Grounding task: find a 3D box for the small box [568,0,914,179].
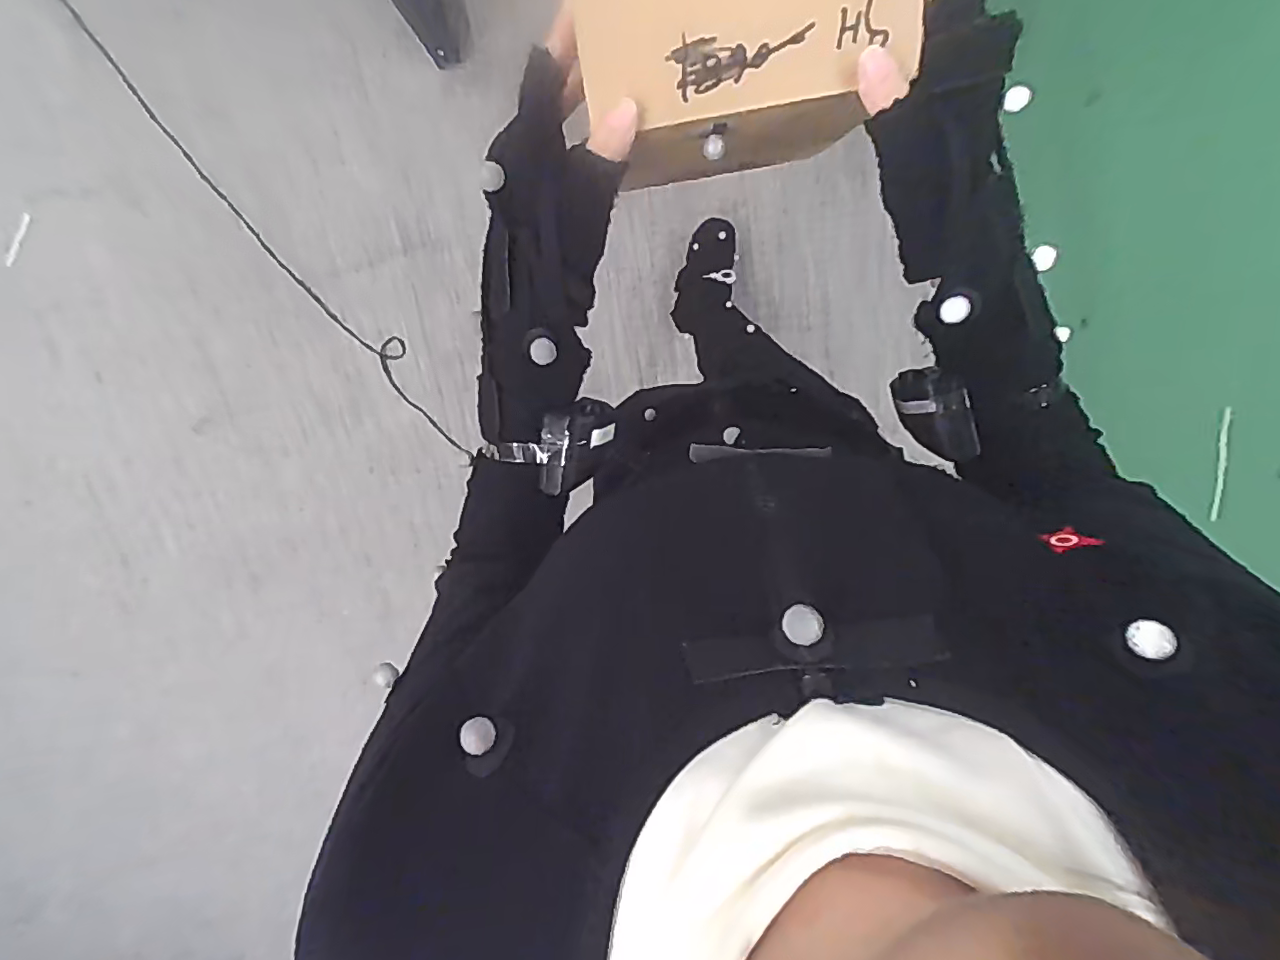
[{"bbox_3d":[0.041,-0.302,0.318,0.168,0.176,0.179,-8,109,4],"label":"small box"}]
